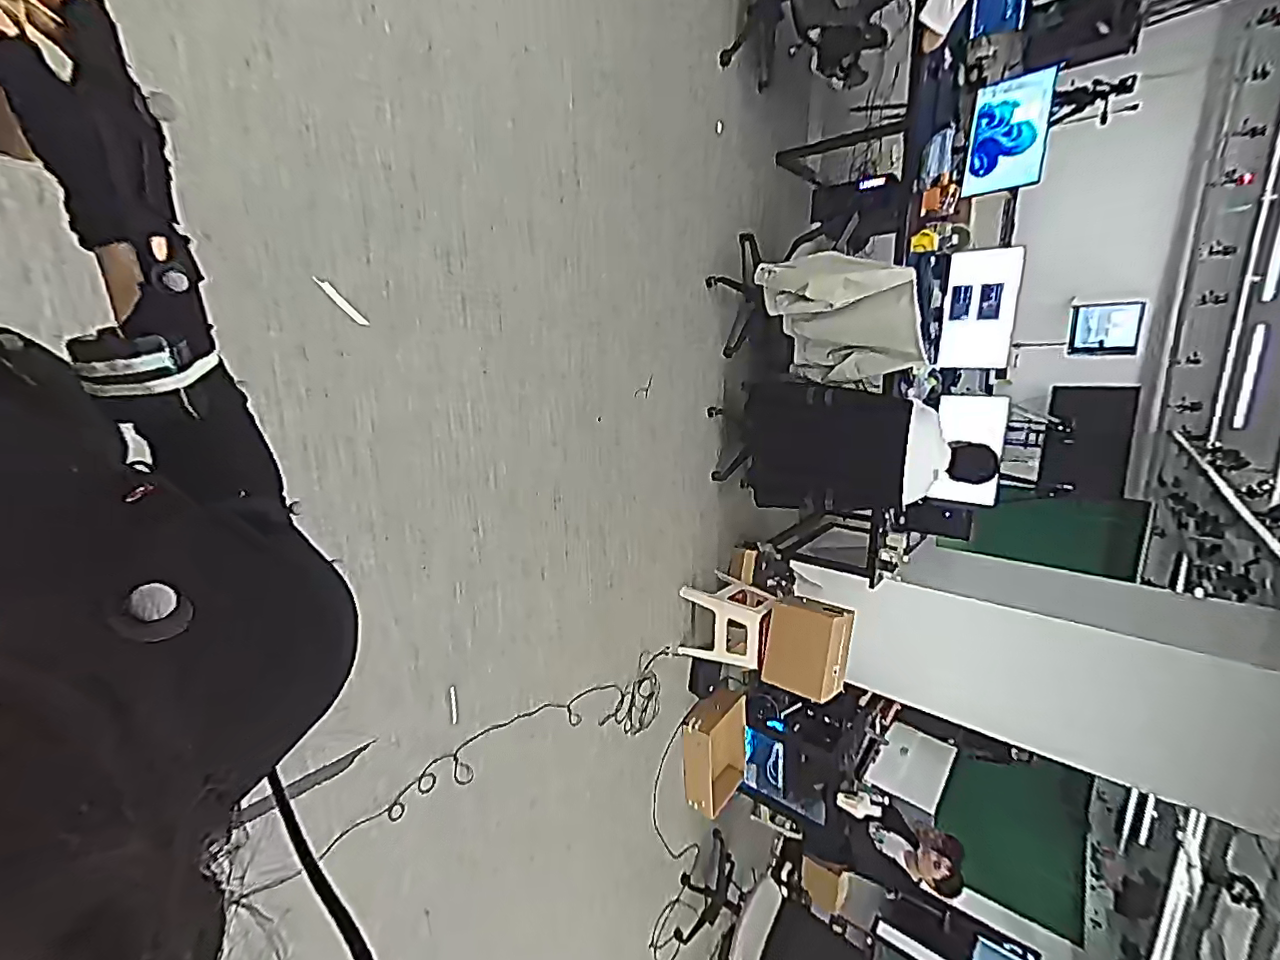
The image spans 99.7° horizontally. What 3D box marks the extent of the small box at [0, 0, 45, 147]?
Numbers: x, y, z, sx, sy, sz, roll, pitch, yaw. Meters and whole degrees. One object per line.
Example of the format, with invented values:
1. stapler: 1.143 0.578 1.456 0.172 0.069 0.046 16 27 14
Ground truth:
1. small box: -0.459 -0.333 0.300 0.168 0.176 0.179 -3 86 -46
